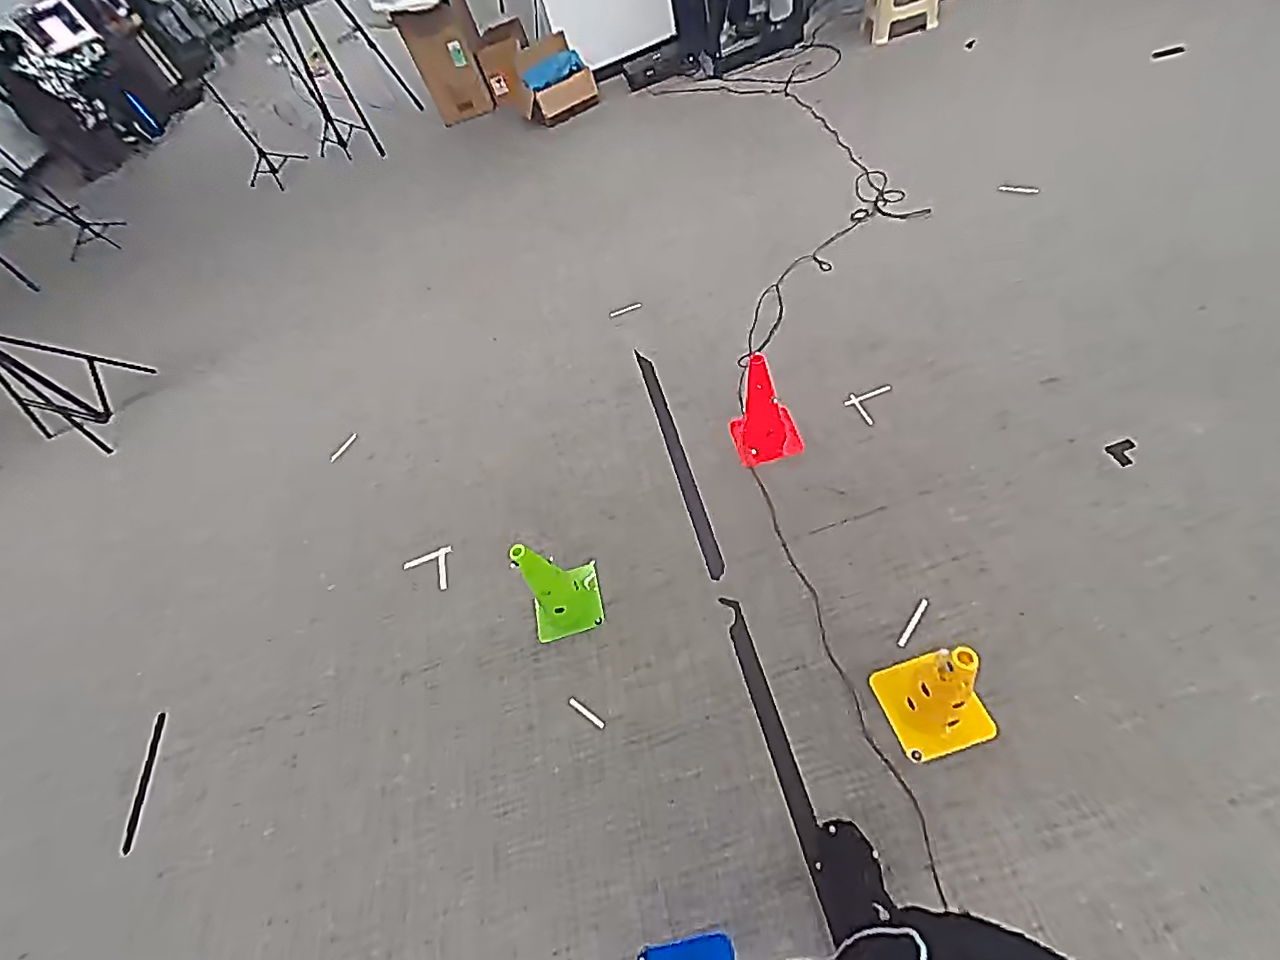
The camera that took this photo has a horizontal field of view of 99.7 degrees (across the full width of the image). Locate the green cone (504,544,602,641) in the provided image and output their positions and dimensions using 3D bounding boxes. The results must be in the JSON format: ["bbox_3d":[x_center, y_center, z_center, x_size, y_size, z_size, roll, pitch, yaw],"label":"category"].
[{"bbox_3d":[-0.263,0.265,1.462,0.202,0.368,0.200,-20,53,5],"label":"green cone"}]

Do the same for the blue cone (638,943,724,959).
[{"bbox_3d":[0.048,0.936,0.916,0.192,0.380,0.193,-17,53,7],"label":"blue cone"}]

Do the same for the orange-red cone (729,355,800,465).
[{"bbox_3d":[0.360,-0.235,1.616,0.199,0.360,0.198,-15,55,6],"label":"orange-red cone"}]
